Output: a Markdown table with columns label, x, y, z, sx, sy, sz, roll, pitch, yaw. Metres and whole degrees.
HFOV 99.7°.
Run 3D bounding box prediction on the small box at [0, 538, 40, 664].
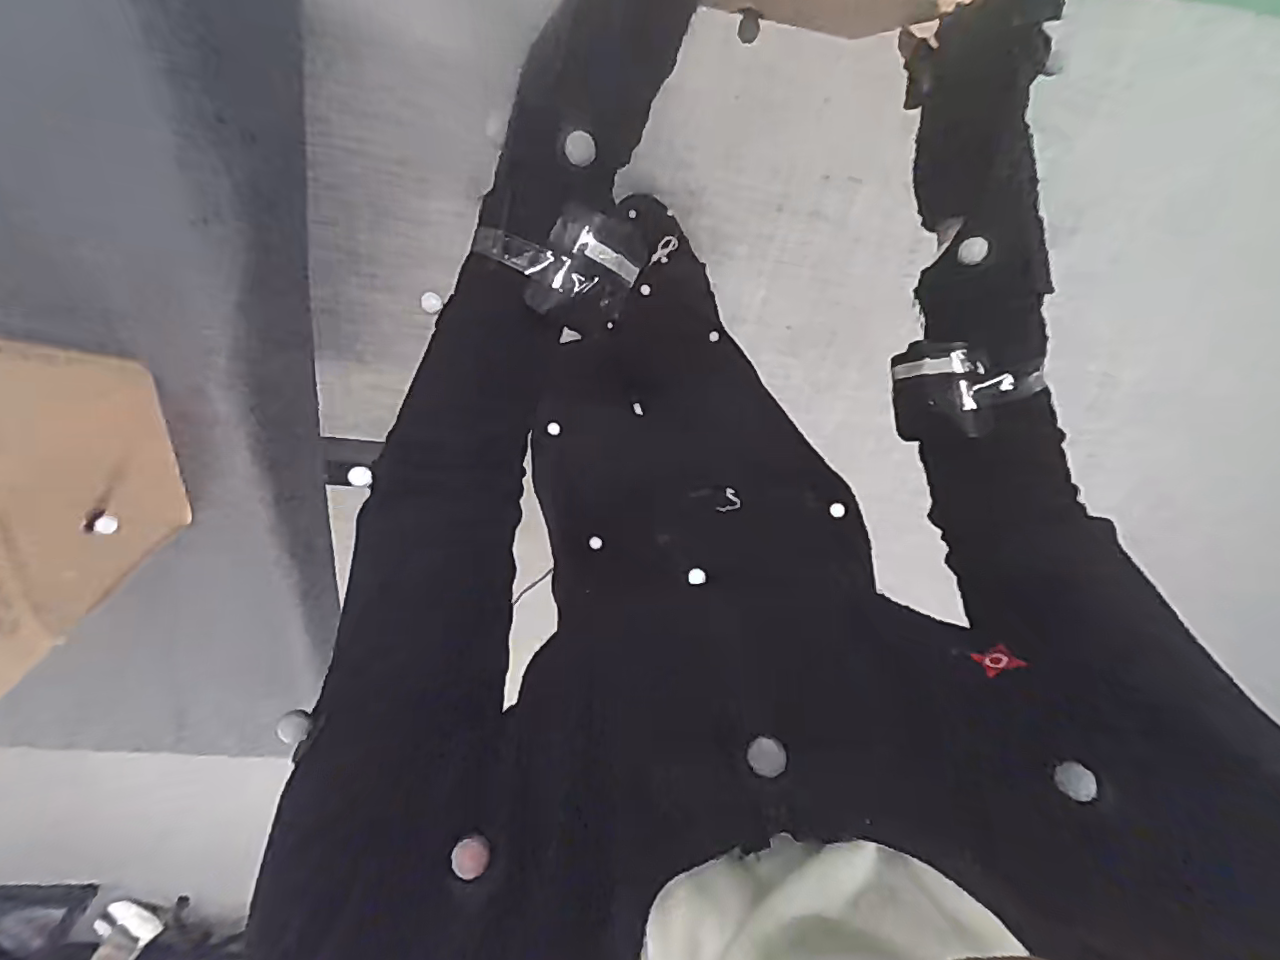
| label | x | y | z | sx | sy | sz | roll | pitch | yaw |
| --- | --- | --- | --- | --- | --- | --- | --- | --- | --- |
| small box | -0.521 | 0.088 | 0.298 | 0.179 | 0.176 | 0.168 | 12 | 122 | -10 |

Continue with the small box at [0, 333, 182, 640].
| label | x | y | z | sx | sy | sz | roll | pitch | yaw |
| --- | --- | --- | --- | --- | --- | --- | --- | --- | --- |
| small box | -0.523 | -0.002 | 0.436 | 0.168 | 0.176 | 0.179 | 9 | 123 | -8 |
